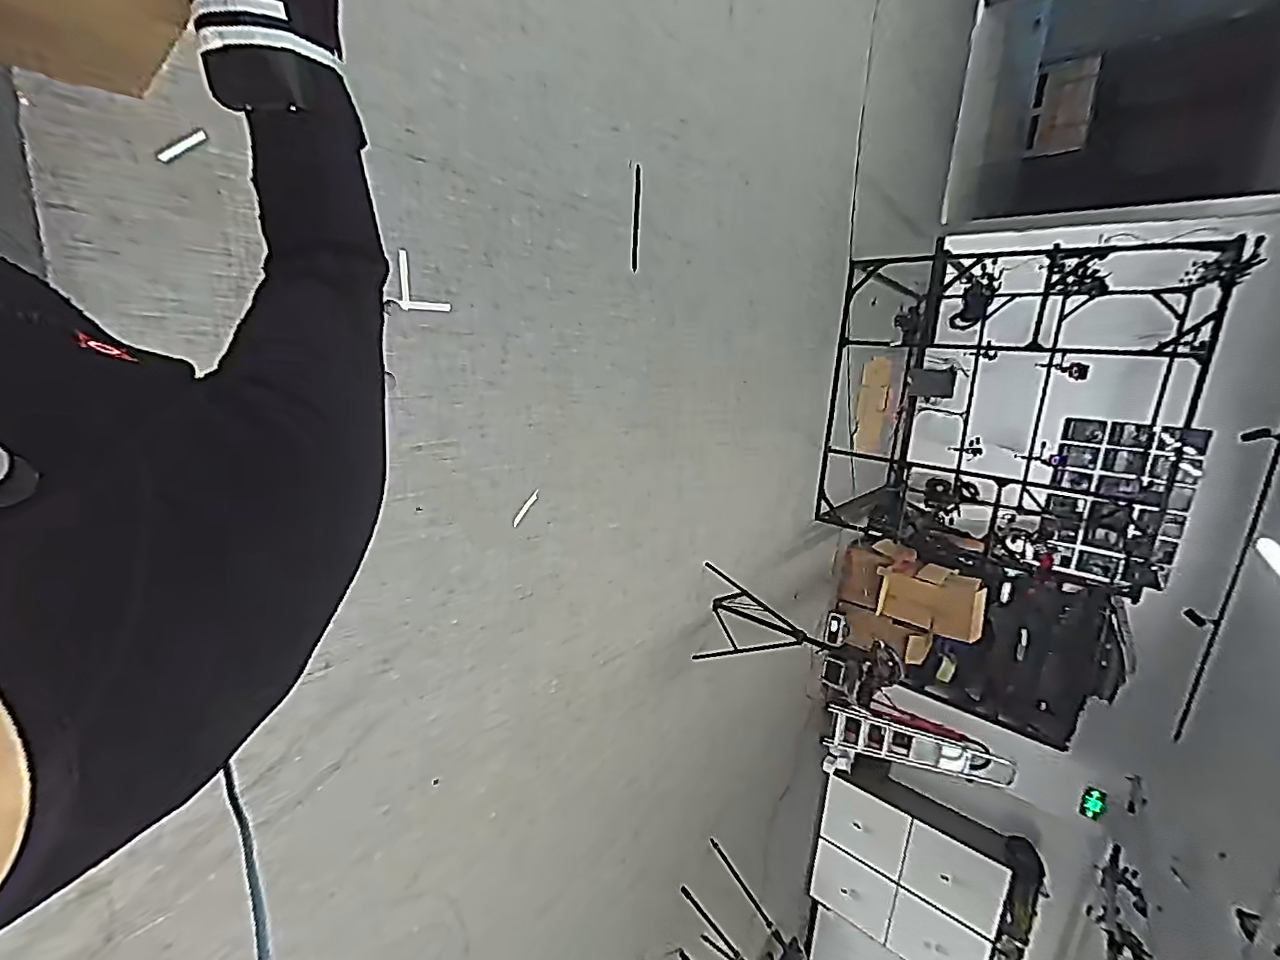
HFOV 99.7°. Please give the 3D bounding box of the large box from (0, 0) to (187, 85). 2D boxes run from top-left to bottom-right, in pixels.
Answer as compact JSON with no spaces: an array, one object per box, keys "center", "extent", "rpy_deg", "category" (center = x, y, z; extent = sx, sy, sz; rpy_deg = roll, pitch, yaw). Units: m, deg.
[{"center":[-0.486,-0.457,0.235],"extent":[0.408,0.320,0.320],"rpy_deg":[-15,110,-49],"category":"large box"}]
